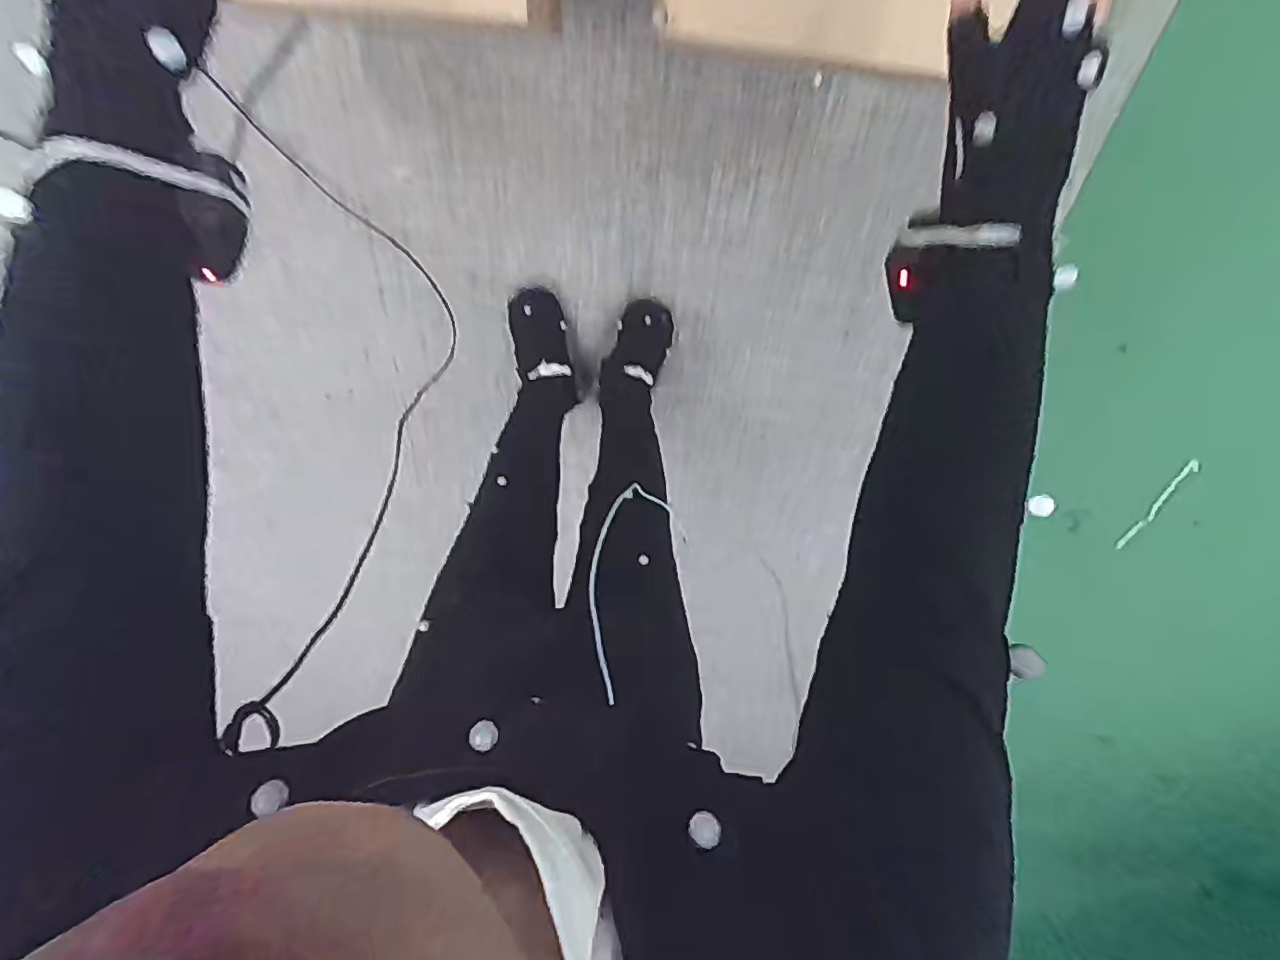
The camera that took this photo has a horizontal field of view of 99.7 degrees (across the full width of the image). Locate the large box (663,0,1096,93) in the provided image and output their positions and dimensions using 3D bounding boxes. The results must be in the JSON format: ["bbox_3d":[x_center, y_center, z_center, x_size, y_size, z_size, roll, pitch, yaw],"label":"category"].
[{"bbox_3d":[0.246,-0.626,0.566,0.408,0.320,0.320,6,127,-4],"label":"large box"}]
